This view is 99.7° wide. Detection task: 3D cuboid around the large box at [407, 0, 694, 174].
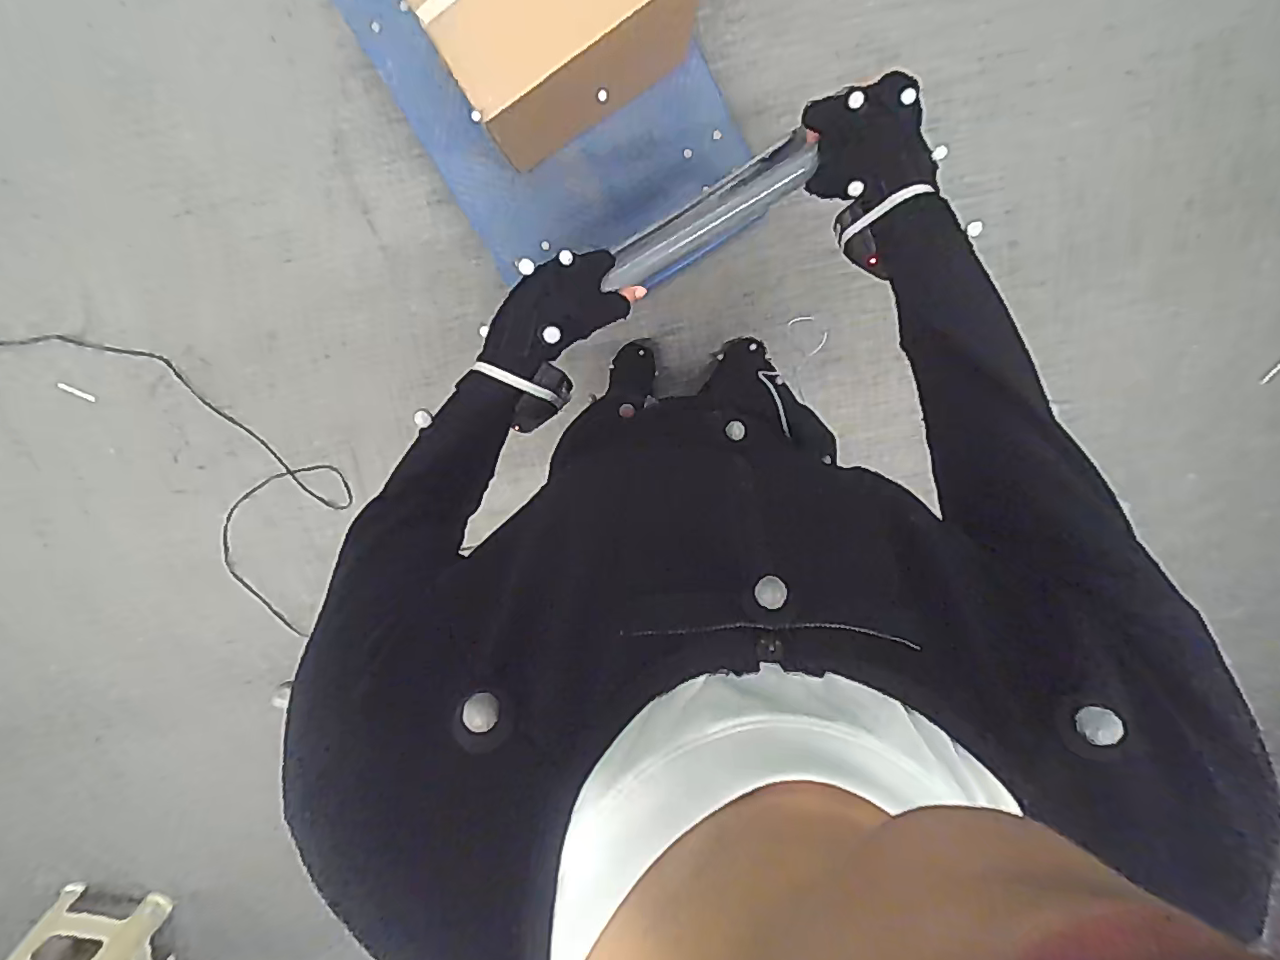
[{"bbox_3d":[-0.155,-0.826,0.938,0.408,0.320,0.320,-31,103,8],"label":"large box"}]
